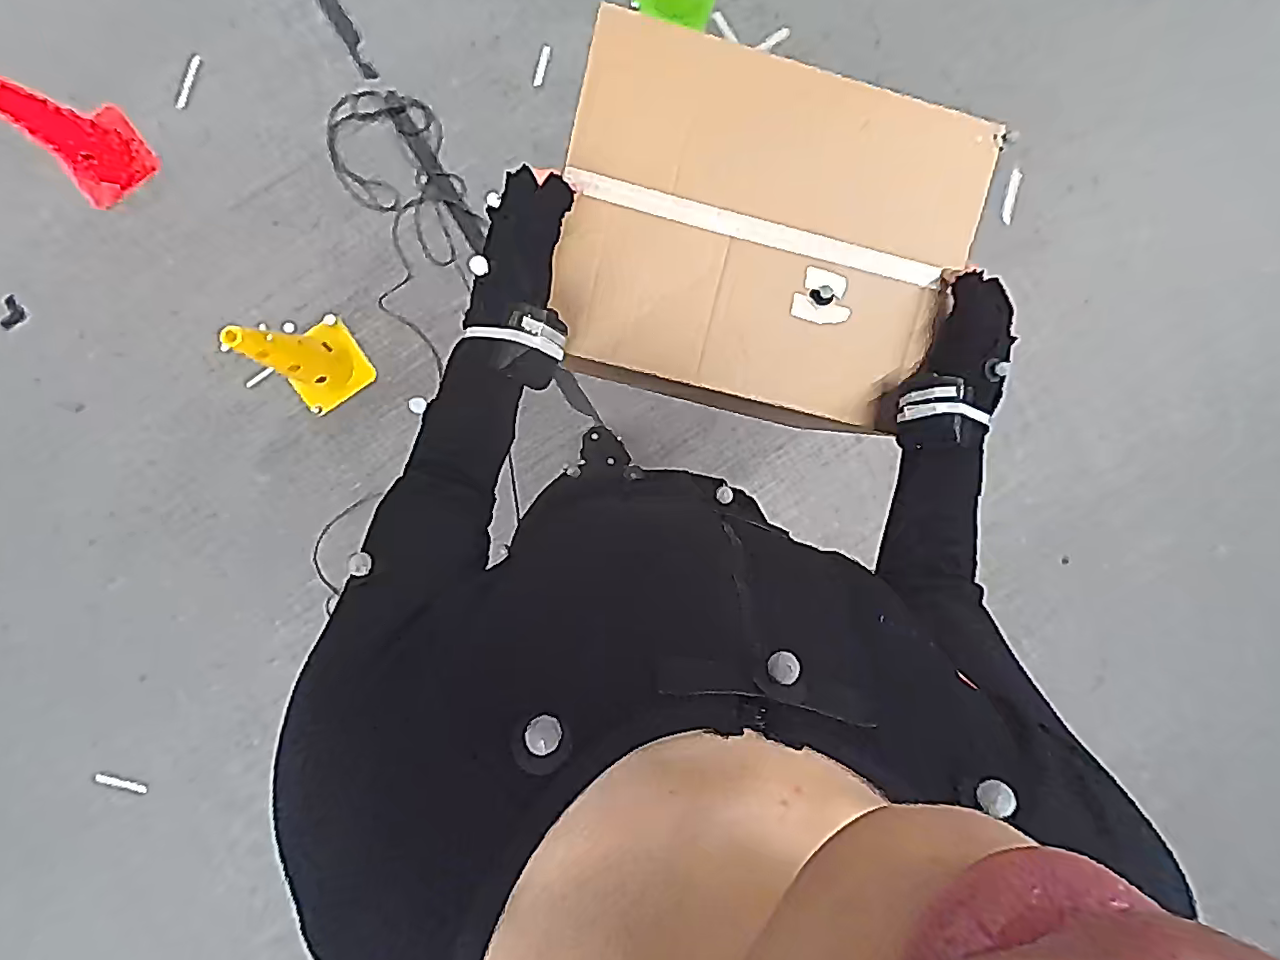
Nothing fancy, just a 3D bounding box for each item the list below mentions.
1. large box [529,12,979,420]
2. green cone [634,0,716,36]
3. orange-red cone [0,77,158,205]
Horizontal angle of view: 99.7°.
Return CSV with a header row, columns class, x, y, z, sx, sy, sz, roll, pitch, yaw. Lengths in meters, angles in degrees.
class,x,y,z,sx,sy,sz,roll,pitch,yaw
large box,0.101,-0.264,0.676,0.408,0.320,0.320,12,97,-6
green cone,0.113,-1.282,1.246,0.200,0.368,0.202,20,90,-4
orange-red cone,-1.353,-0.821,1.213,0.198,0.360,0.199,-35,95,1
